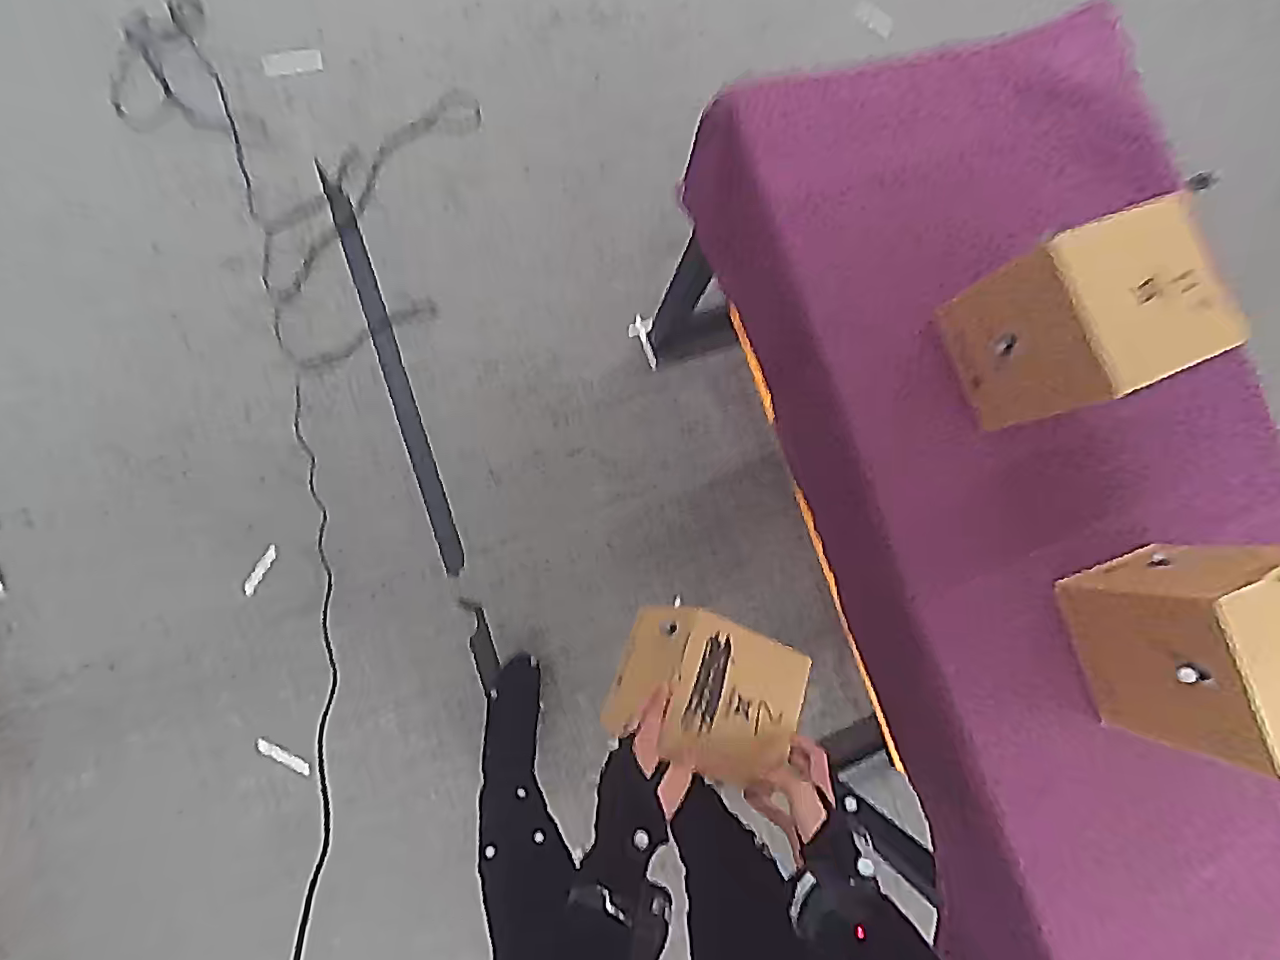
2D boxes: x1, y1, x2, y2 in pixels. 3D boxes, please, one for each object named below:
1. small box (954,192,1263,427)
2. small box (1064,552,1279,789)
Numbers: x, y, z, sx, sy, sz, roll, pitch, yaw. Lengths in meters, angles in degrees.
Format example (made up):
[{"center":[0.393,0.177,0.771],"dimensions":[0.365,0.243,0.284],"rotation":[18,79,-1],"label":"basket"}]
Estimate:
[{"center":[0.483,-0.171,0.590],"dimensions":[0.179,0.176,0.168],"rotation":[-20,88,-11],"label":"small box"},{"center":[0.612,0.181,0.574],"dimensions":[0.168,0.176,0.179],"rotation":[-16,86,-11],"label":"small box"}]
